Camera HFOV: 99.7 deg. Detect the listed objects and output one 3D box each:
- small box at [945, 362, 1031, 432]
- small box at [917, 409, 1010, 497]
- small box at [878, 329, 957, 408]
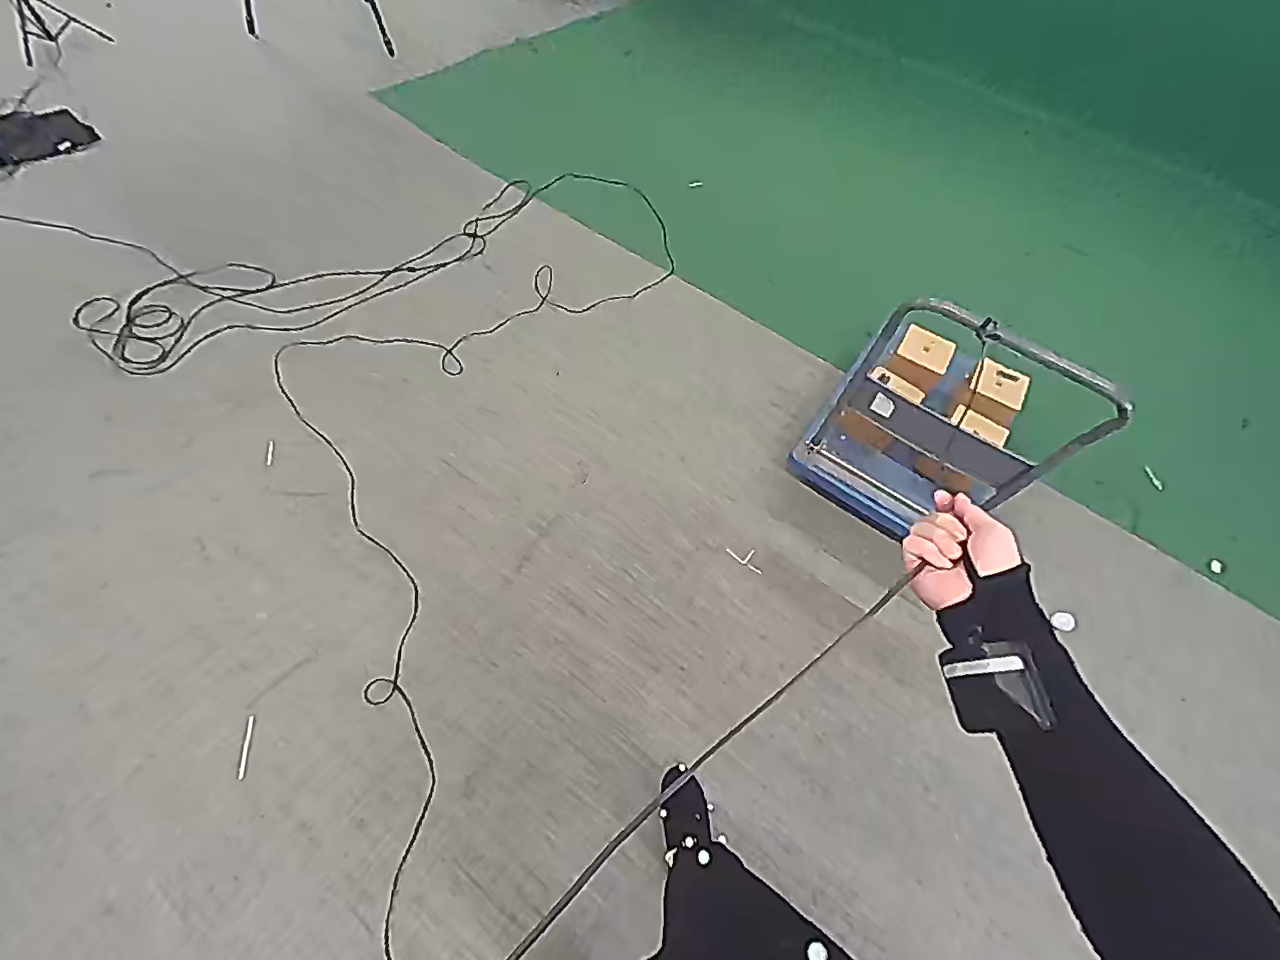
[{"bbox_3d":[1.174,-0.259,1.834,0.168,0.176,0.179,31,61,13],"label":"small box"},{"bbox_3d":[1.014,-0.082,1.708,0.168,0.176,0.179,35,62,15],"label":"small box"},{"bbox_3d":[0.963,-0.384,1.889,0.168,0.176,0.179,31,60,12],"label":"small box"}]
